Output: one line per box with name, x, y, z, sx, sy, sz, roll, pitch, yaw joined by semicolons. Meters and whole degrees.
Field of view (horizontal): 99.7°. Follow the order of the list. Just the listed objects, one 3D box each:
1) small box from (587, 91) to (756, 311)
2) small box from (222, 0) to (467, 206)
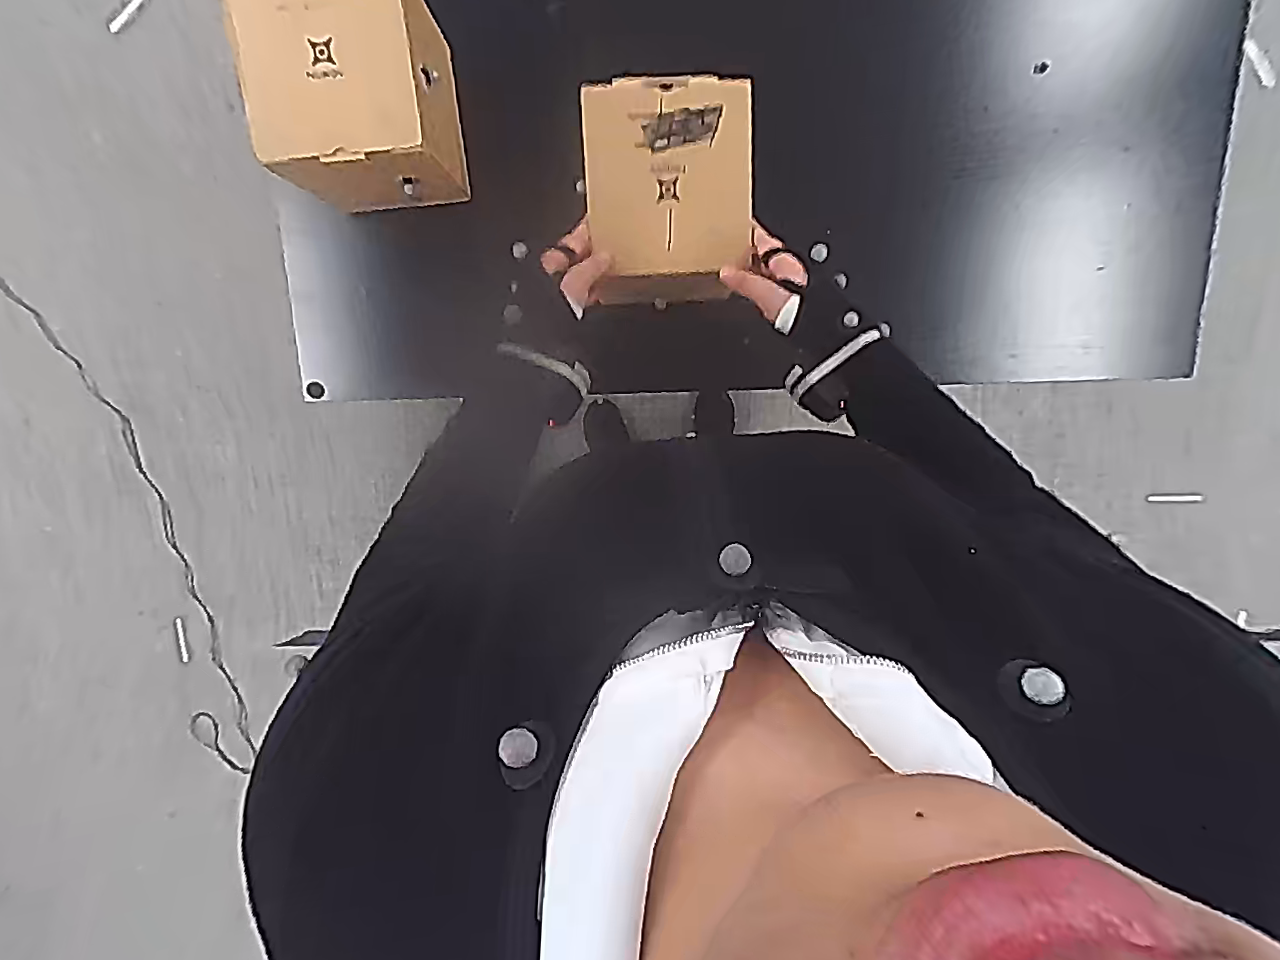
small box;0.030;-0.296;0.608;0.168;0.176;0.179;-2;99;0
small box;-0.298;-0.411;0.584;0.168;0.176;0.179;-6;101;-1
